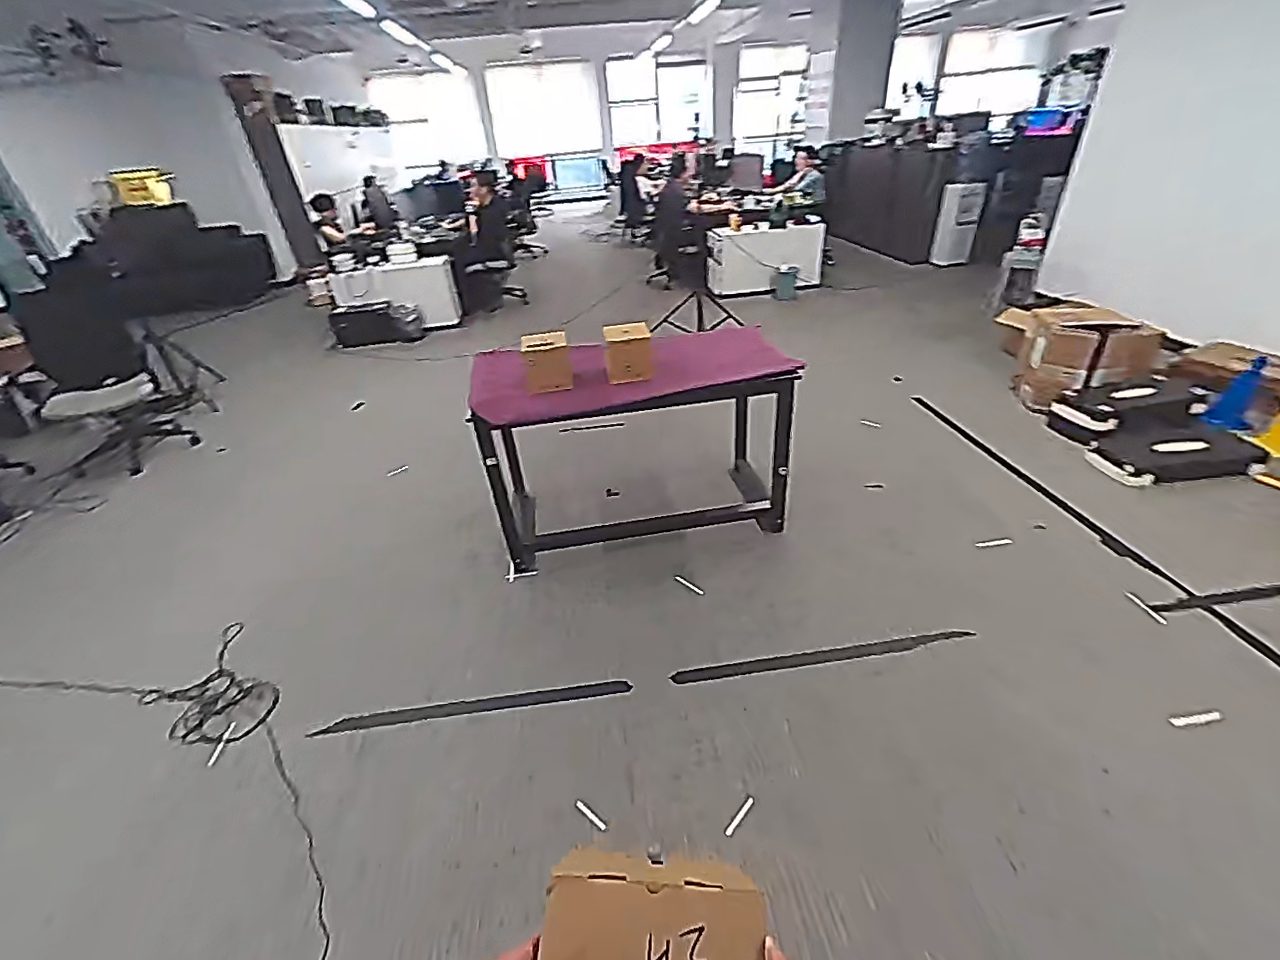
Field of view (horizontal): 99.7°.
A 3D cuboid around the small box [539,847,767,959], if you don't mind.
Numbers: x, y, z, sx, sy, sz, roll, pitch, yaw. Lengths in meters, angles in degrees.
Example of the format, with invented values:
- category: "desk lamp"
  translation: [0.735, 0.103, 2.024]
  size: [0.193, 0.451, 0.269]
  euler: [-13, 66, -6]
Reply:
- category: "small box"
  translation: [0.008, 0.414, 0.437]
  size: [0.168, 0.176, 0.179]
  euler: [3, 60, 2]

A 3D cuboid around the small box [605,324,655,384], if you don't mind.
- category: "small box"
  translation: [-0.040, -0.480, 2.062]
  size: [0.168, 0.176, 0.179]
  euler: [-8, 34, -5]
